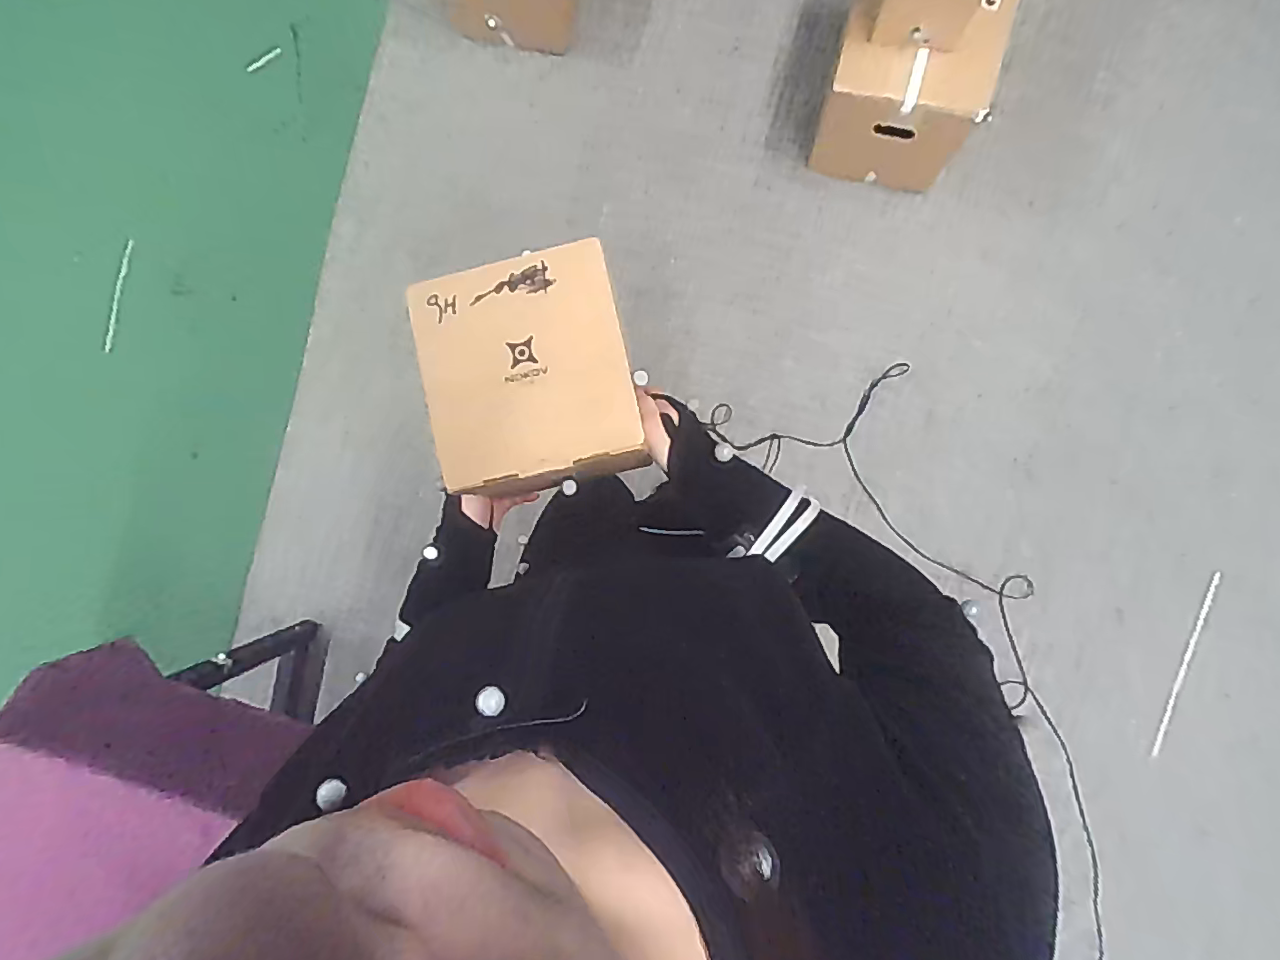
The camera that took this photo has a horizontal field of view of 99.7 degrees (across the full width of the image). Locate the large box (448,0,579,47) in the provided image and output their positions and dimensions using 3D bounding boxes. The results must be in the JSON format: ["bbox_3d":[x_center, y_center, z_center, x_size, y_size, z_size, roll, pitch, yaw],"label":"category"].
[{"bbox_3d":[-0.312,-1.393,1.329,0.320,0.320,0.408,16,93,7],"label":"large box"}]

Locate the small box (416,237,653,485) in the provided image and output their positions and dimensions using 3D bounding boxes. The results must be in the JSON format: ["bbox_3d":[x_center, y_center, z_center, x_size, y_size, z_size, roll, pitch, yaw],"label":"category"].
[{"bbox_3d":[-0.084,-0.095,0.516,0.168,0.176,0.179,-12,87,3],"label":"small box"}]
